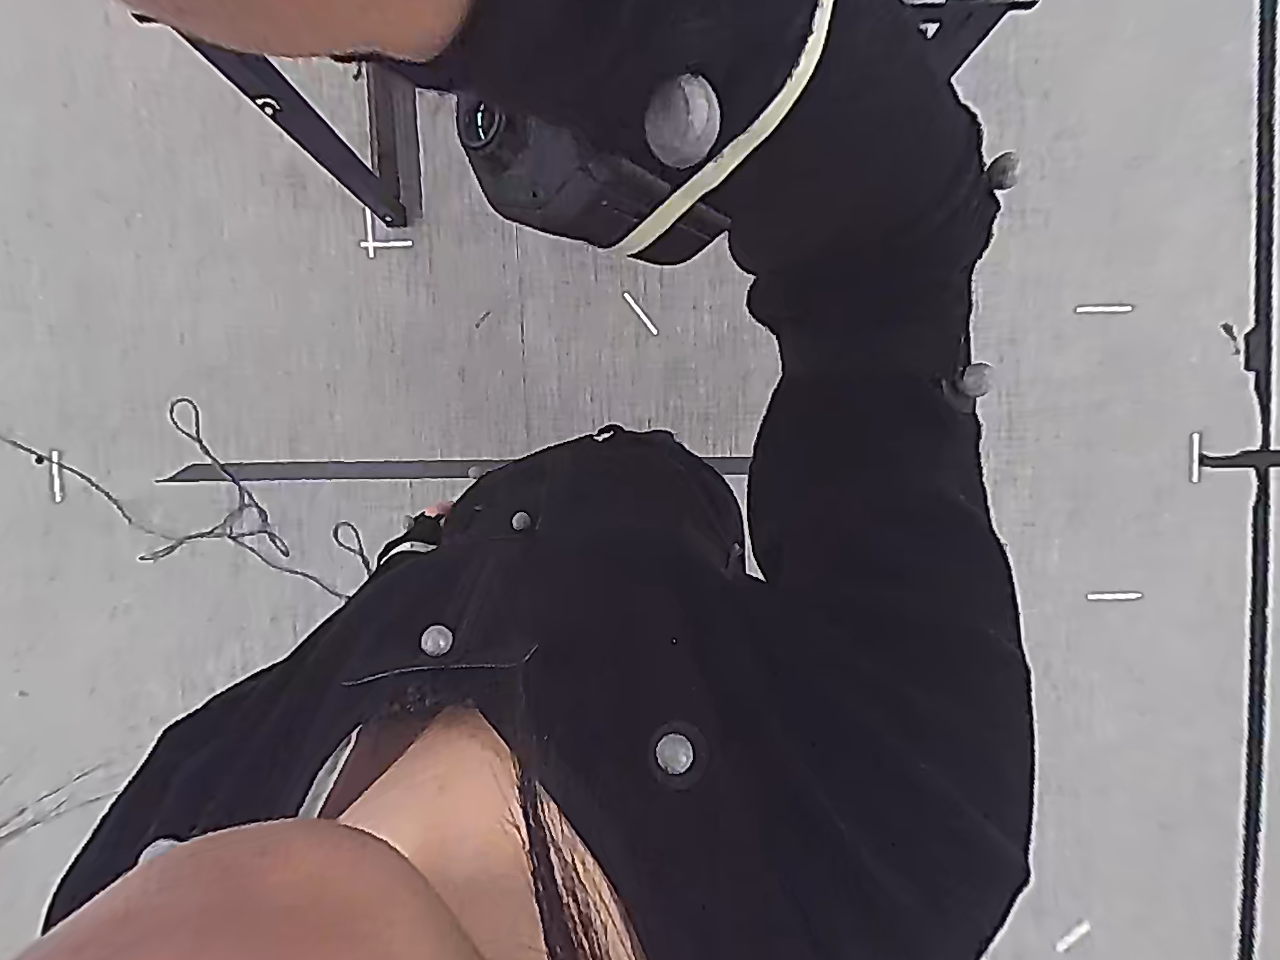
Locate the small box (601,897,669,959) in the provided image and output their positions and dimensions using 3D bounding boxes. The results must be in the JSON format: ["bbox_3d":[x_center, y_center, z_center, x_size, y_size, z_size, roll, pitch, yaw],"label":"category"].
[{"bbox_3d":[-0.012,1.270,1.456,0.168,0.176,0.179,-11,93,-1],"label":"small box"}]
